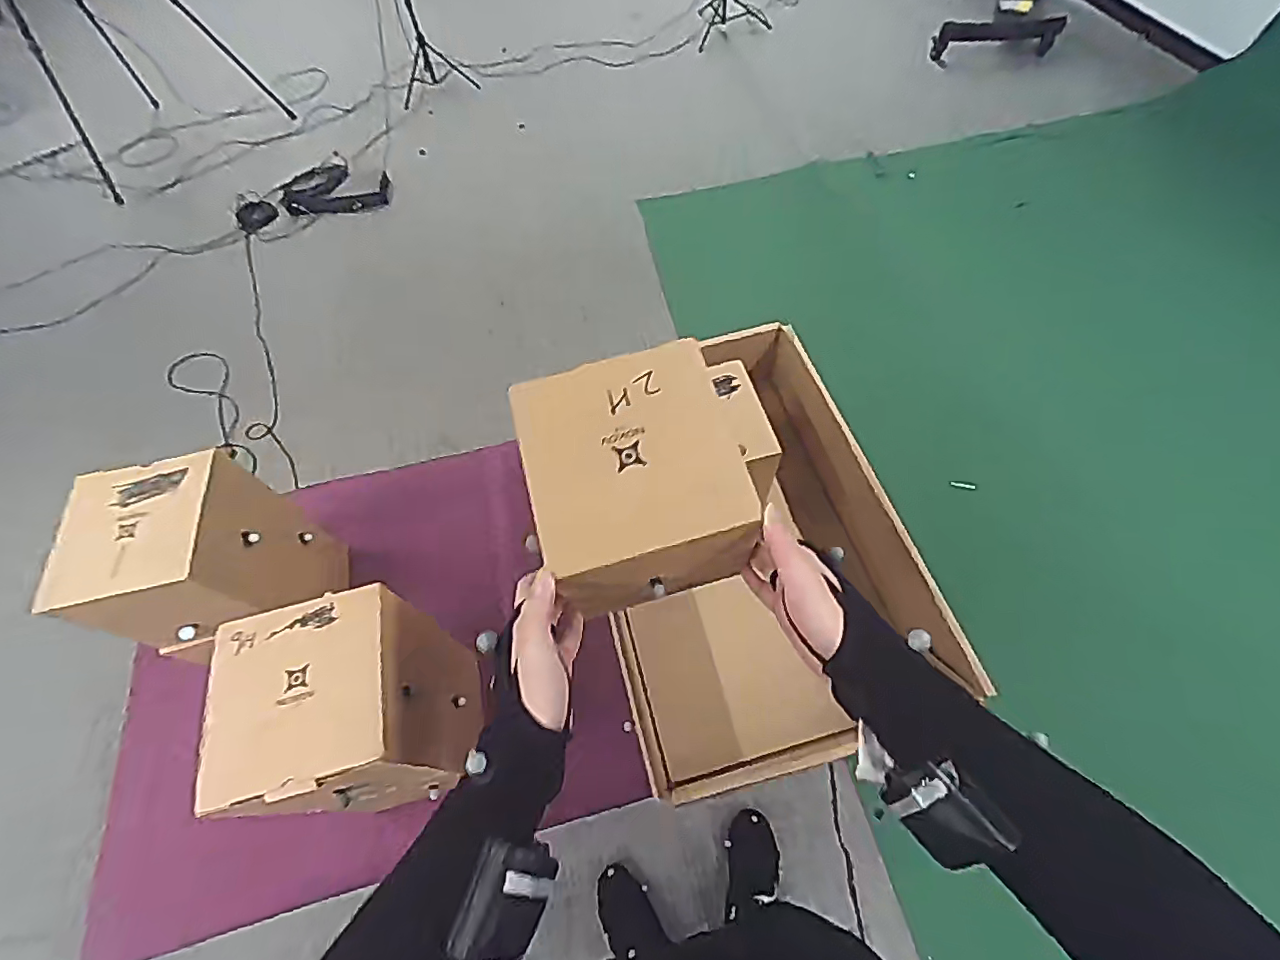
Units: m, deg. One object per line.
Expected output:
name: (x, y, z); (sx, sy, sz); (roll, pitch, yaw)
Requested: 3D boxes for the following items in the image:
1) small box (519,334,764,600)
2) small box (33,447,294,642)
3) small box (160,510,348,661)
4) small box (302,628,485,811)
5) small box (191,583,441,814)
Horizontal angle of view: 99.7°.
small box: (0.001, 0.002, 0.500); (0.168, 0.176, 0.179); (-14, 65, -3)
small box: (-0.573, 0.087, 0.684); (0.168, 0.176, 0.179); (-12, 61, -3)
small box: (-0.569, 0.172, 0.825); (0.168, 0.176, 0.179); (-16, 60, -5)
small box: (-0.316, 0.321, 0.722); (0.168, 0.176, 0.179); (-14, 59, -5)
small box: (-0.325, 0.236, 0.582); (0.168, 0.176, 0.179); (-14, 60, -5)
